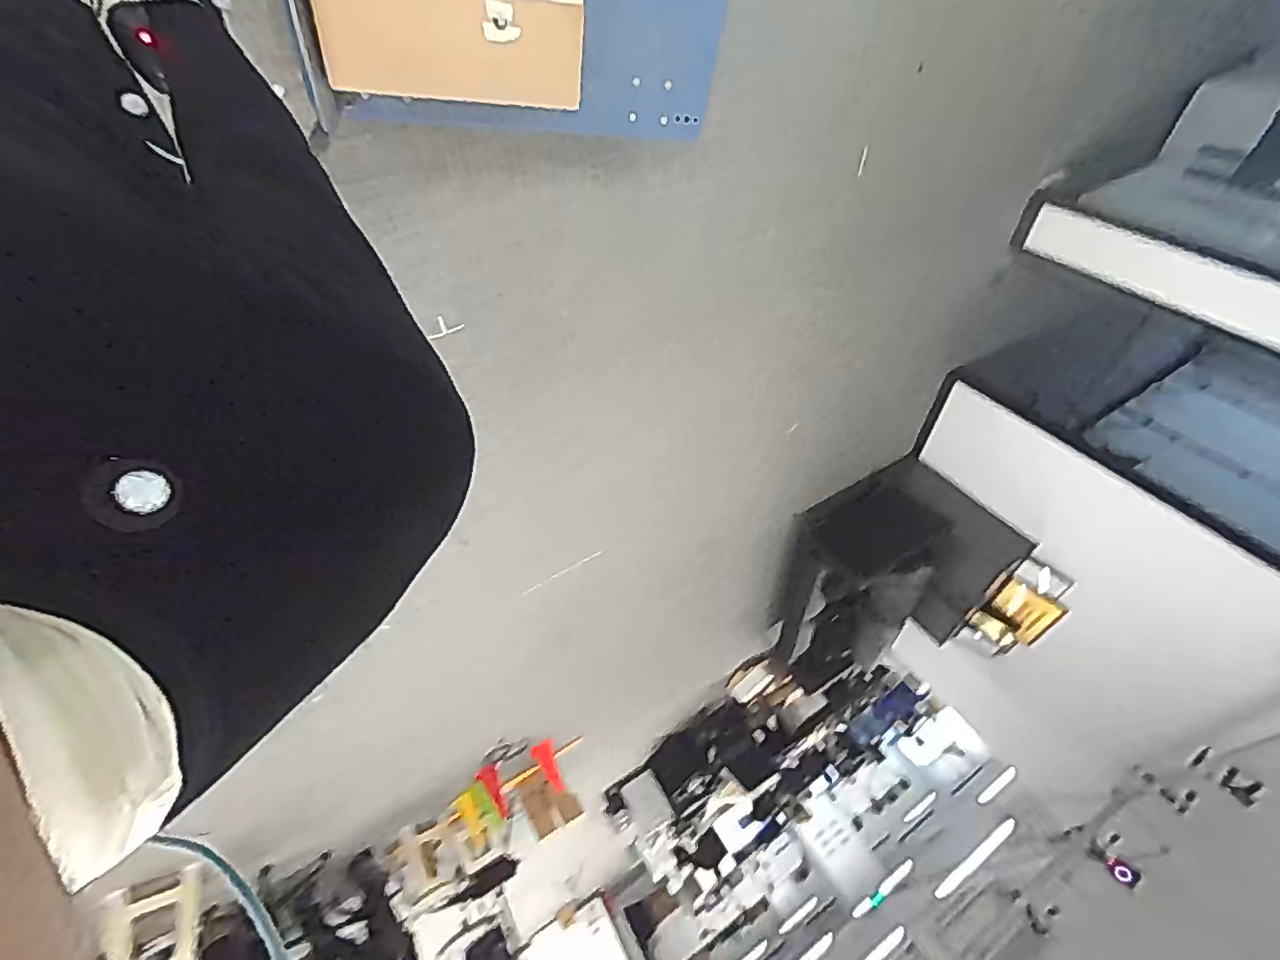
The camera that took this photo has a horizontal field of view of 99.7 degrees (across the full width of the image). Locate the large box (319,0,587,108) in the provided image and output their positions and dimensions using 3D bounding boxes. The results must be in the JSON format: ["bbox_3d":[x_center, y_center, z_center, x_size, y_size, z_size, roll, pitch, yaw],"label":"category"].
[{"bbox_3d":[-0.323,-0.847,0.904,0.408,0.320,0.320,-9,136,-20],"label":"large box"}]
